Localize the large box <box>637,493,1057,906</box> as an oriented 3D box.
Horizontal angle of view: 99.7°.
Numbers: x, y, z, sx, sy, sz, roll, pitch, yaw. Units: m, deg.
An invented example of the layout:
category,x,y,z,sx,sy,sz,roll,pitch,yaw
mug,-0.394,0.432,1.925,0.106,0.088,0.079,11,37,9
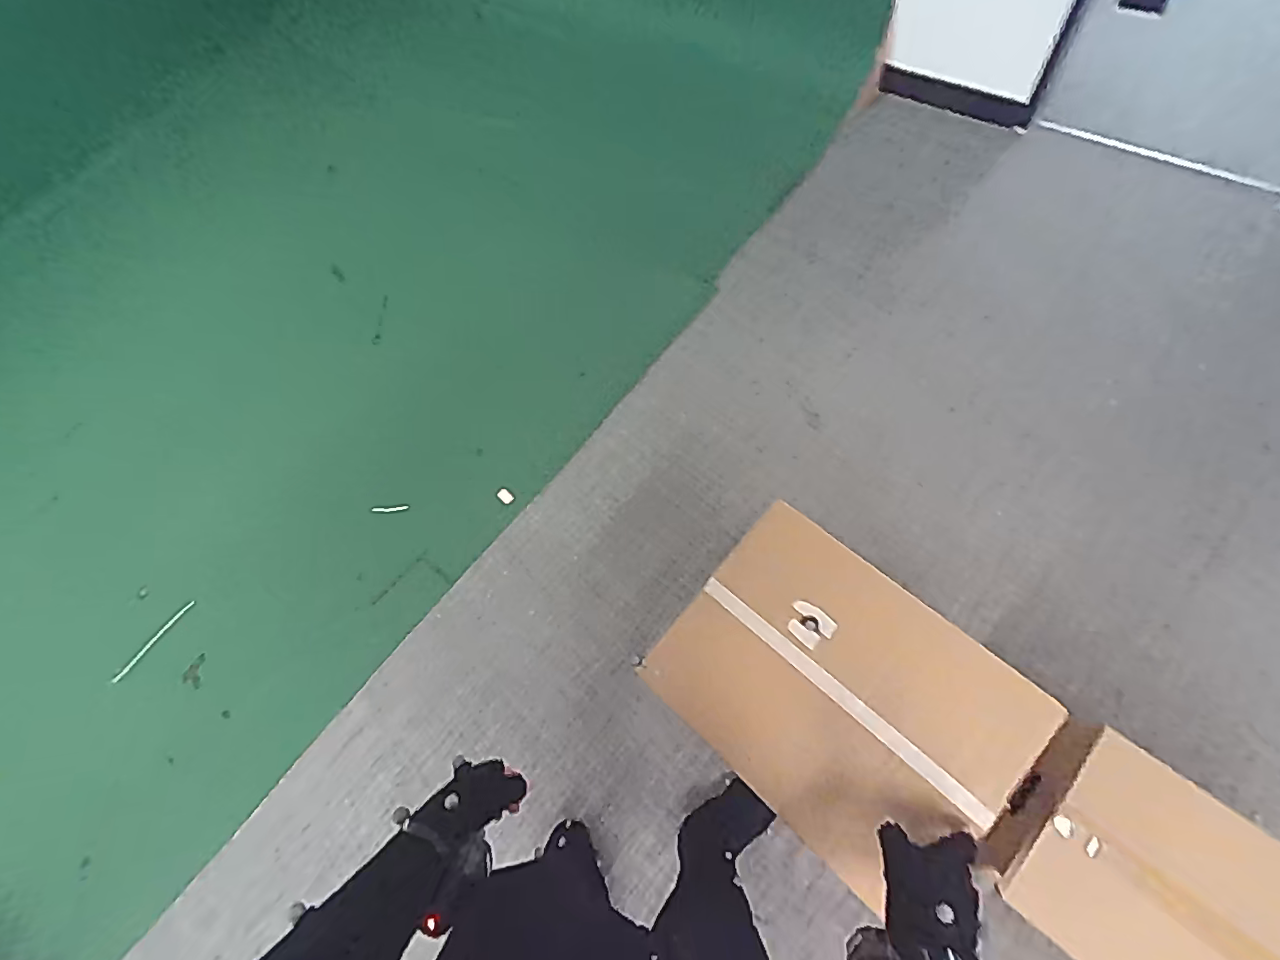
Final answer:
category,x,y,z,sx,sy,sz,roll,pitch,yaw
large box,0.274,0.287,0.811,0.408,0.320,0.320,40,86,24
